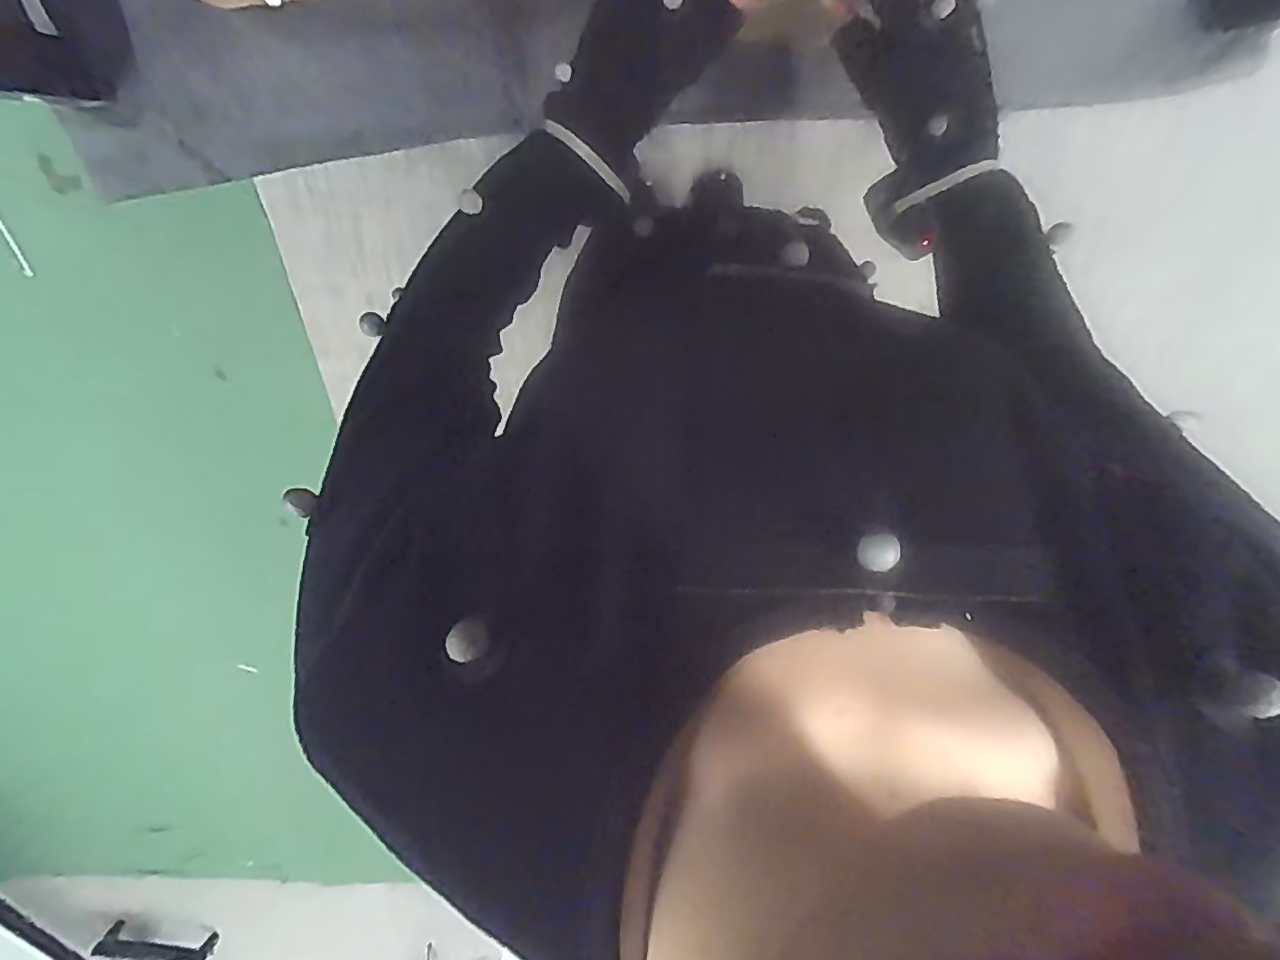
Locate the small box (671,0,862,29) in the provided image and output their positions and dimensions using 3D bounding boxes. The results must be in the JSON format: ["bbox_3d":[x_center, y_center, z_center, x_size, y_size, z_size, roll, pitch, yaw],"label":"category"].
[{"bbox_3d":[0.109,-0.468,0.408,0.168,0.176,0.179,2,119,0],"label":"small box"}]
